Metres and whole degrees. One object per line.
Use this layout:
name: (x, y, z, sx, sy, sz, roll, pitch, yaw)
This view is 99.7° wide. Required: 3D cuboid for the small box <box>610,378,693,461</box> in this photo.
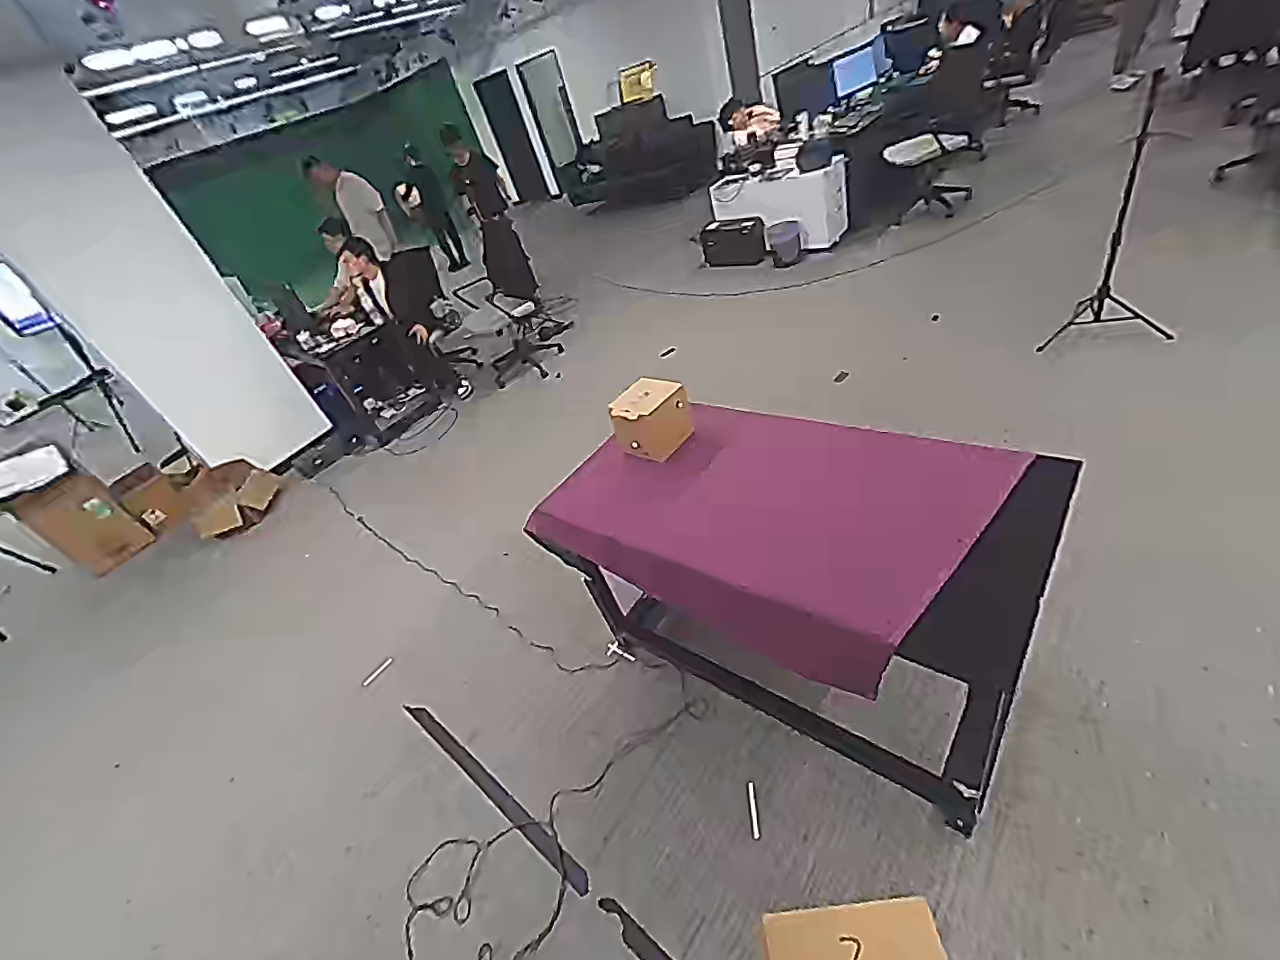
small box: (0.043, -0.184, 1.634, 0.168, 0.176, 0.179, 18, 52, 40)
